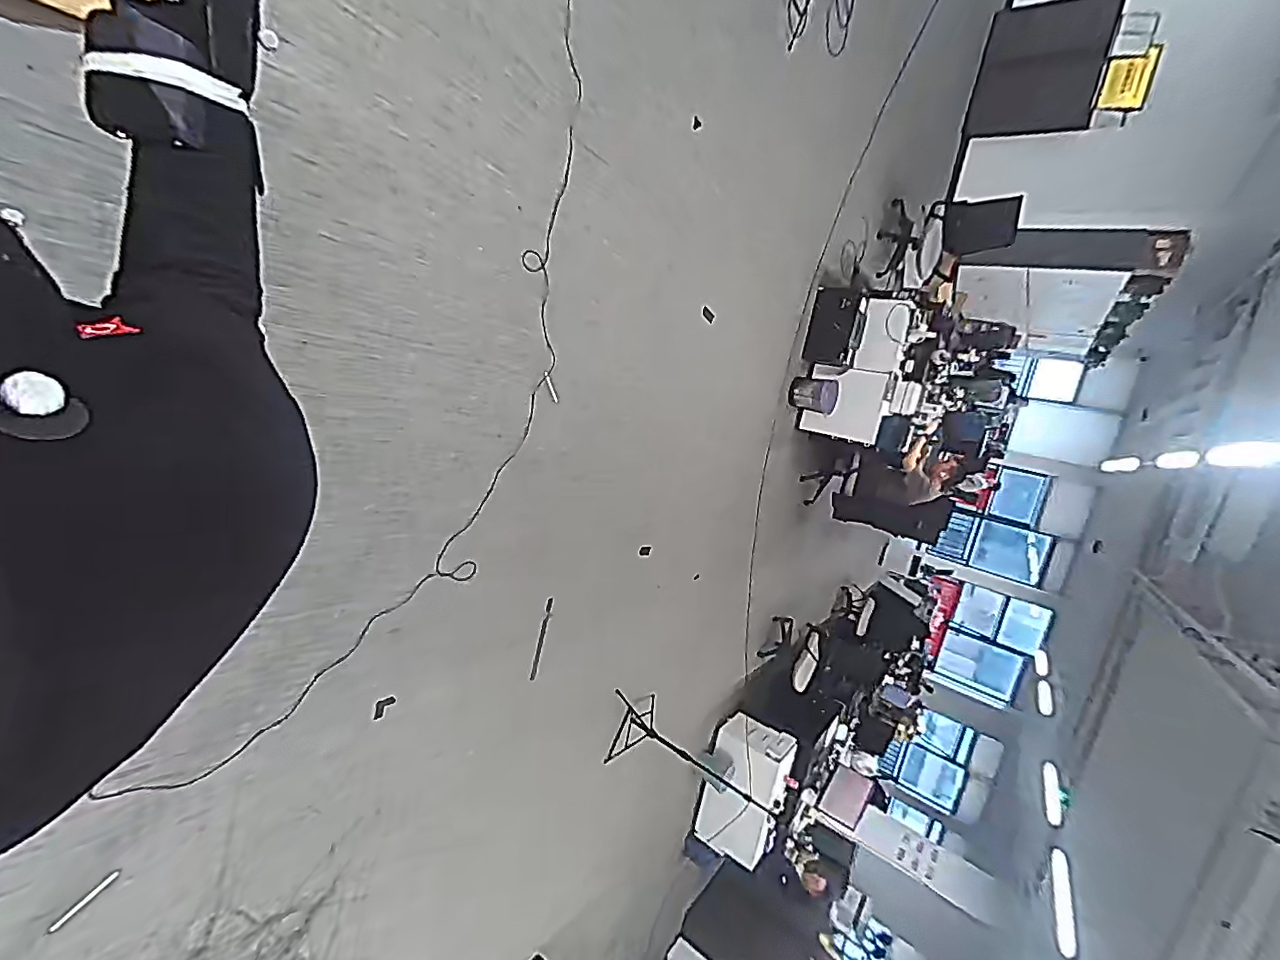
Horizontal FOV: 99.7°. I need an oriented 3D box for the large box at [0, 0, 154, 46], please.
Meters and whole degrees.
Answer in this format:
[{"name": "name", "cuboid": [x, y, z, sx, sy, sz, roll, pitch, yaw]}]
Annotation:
[{"name": "large box", "cuboid": [-0.510, -0.461, 0.215, 0.408, 0.320, 0.320, -14, 128, -56]}]
